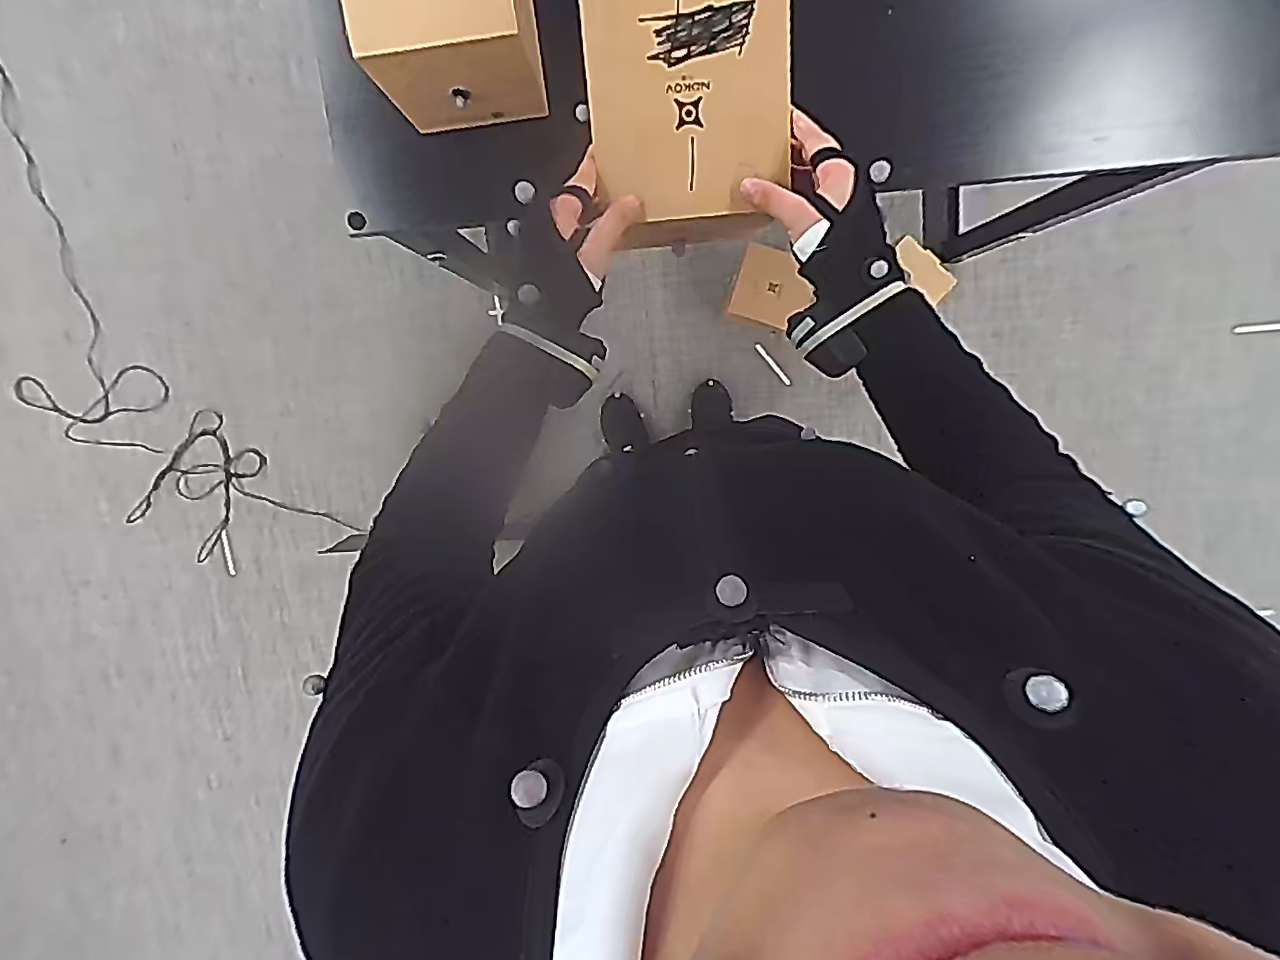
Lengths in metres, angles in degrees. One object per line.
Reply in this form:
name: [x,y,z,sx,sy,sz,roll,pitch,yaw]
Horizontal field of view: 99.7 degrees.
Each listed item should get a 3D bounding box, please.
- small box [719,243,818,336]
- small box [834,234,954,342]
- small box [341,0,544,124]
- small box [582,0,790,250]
small box: [0.307,-0.461,1.334,0.179,0.176,0.168,16,100,-1]
small box: [0.611,-0.461,1.327,0.168,0.176,0.179,38,99,-6]
small box: [-0.208,-0.516,0.586,0.168,0.176,0.179,-7,100,1]
small box: [0.038,-0.330,0.516,0.168,0.176,0.179,-5,107,1]
